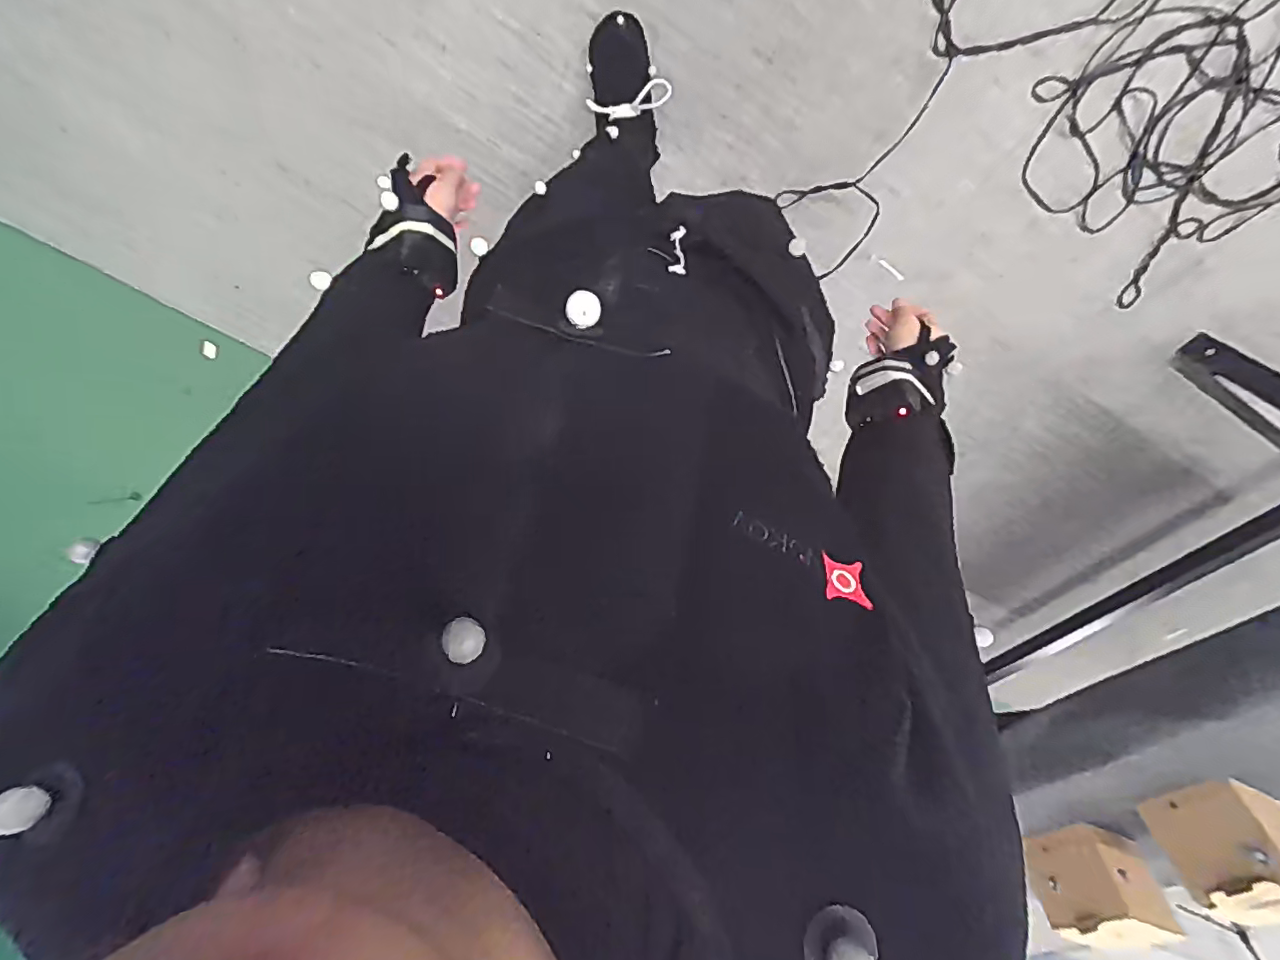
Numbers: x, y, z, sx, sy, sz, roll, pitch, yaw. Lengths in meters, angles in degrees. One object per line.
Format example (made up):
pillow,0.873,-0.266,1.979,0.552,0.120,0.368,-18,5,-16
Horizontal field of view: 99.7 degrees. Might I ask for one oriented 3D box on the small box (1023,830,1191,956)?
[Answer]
small box,0.961,0.861,1.133,0.179,0.176,0.168,25,127,-15
